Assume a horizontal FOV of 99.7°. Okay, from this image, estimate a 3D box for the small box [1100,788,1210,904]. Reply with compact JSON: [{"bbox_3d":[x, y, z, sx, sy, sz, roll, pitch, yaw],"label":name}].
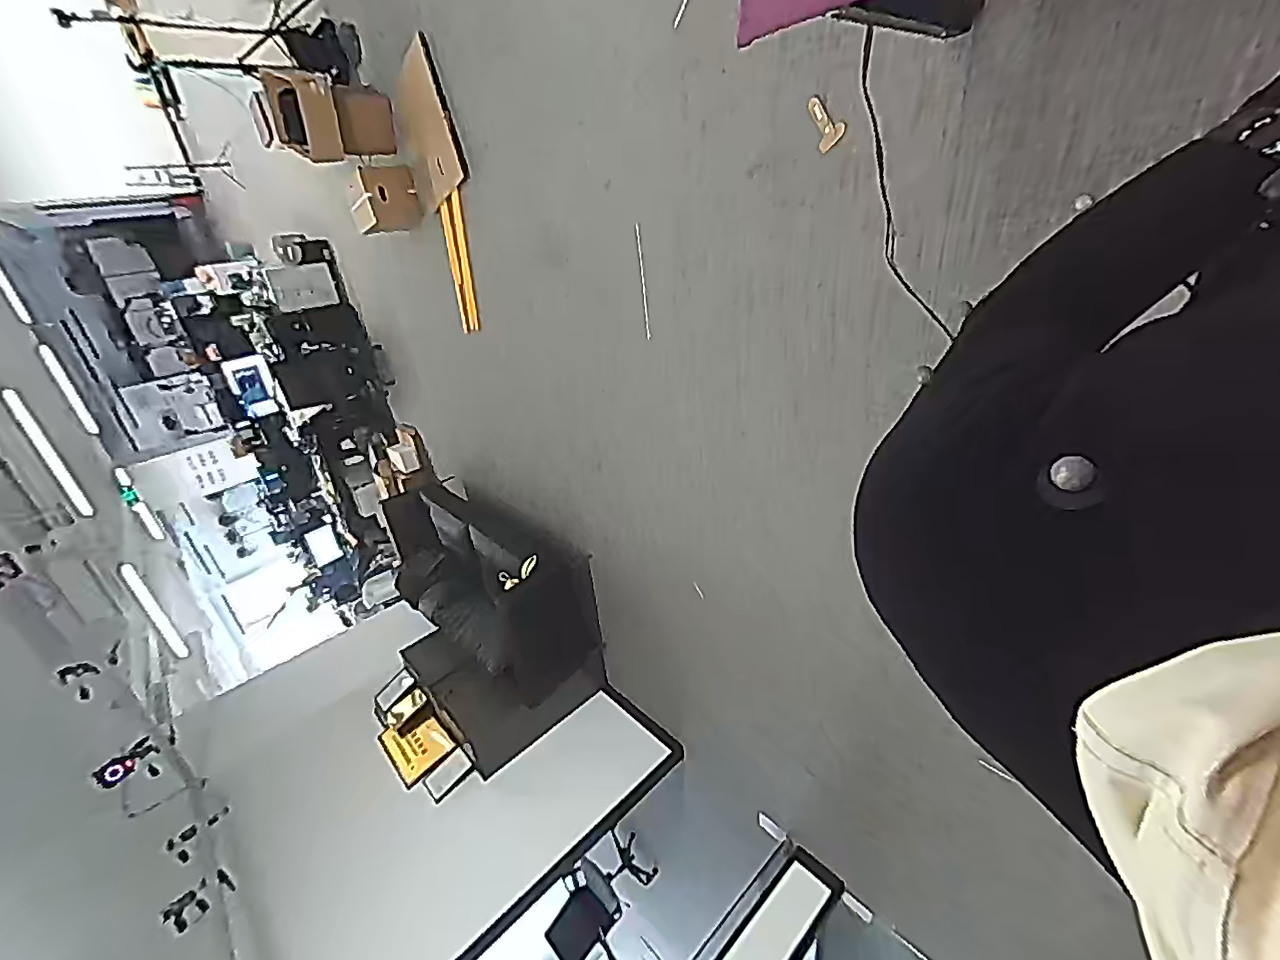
[{"bbox_3d":[1.449,1.020,1.520,0.179,0.176,0.168,26,131,41],"label":"small box"}]
